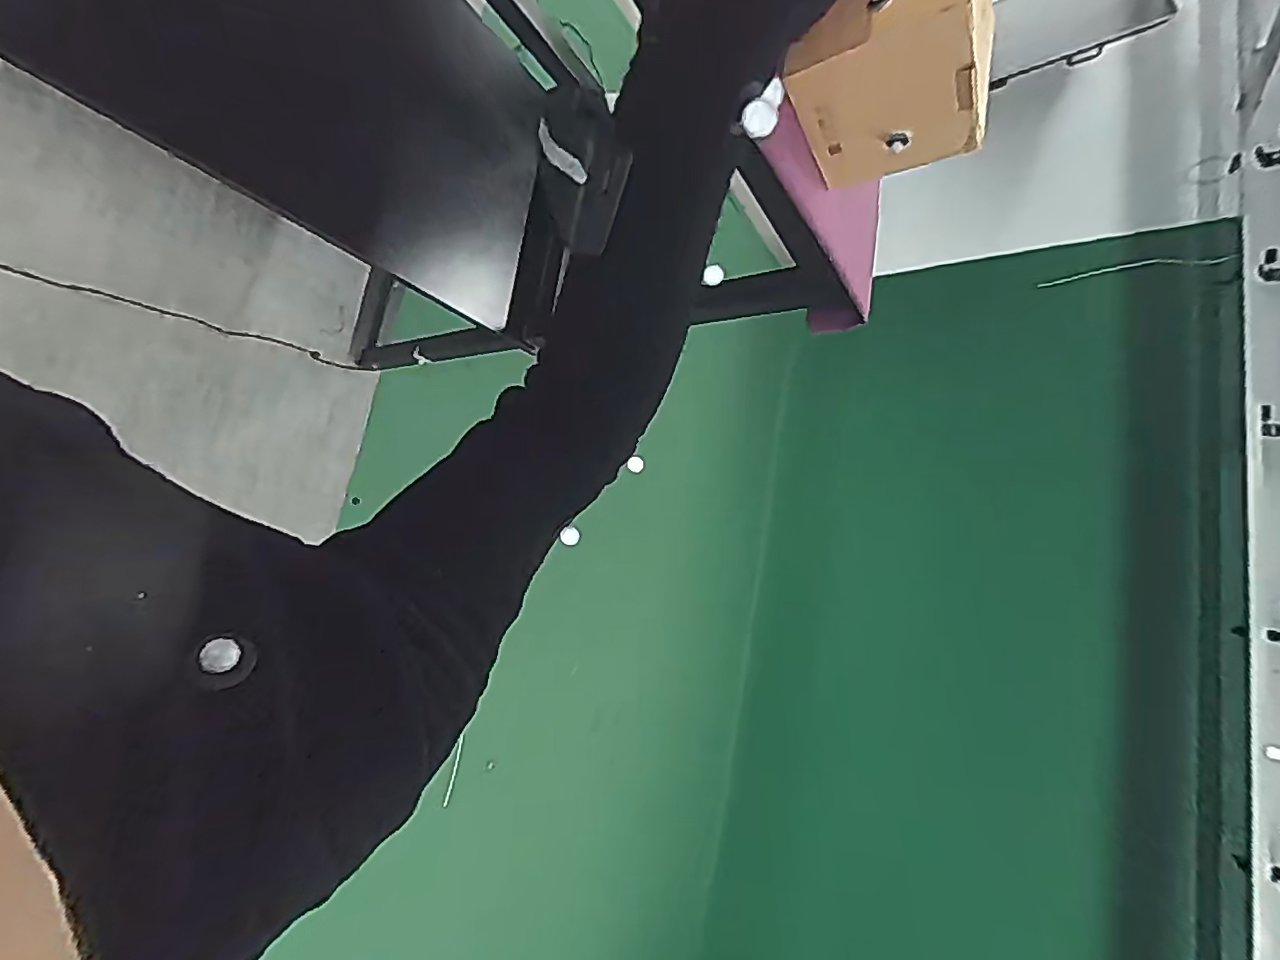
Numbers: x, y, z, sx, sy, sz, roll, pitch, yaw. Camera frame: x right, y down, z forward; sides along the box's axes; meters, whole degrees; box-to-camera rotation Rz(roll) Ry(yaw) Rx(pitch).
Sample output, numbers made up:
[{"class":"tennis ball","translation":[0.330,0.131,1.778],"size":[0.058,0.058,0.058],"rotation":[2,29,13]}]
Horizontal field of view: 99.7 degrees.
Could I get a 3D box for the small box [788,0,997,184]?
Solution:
[{"class":"small box","translation":[0.269,-0.456,0.574],"size":[0.168,0.176,0.179],"rotation":[28,70,-51]}]
